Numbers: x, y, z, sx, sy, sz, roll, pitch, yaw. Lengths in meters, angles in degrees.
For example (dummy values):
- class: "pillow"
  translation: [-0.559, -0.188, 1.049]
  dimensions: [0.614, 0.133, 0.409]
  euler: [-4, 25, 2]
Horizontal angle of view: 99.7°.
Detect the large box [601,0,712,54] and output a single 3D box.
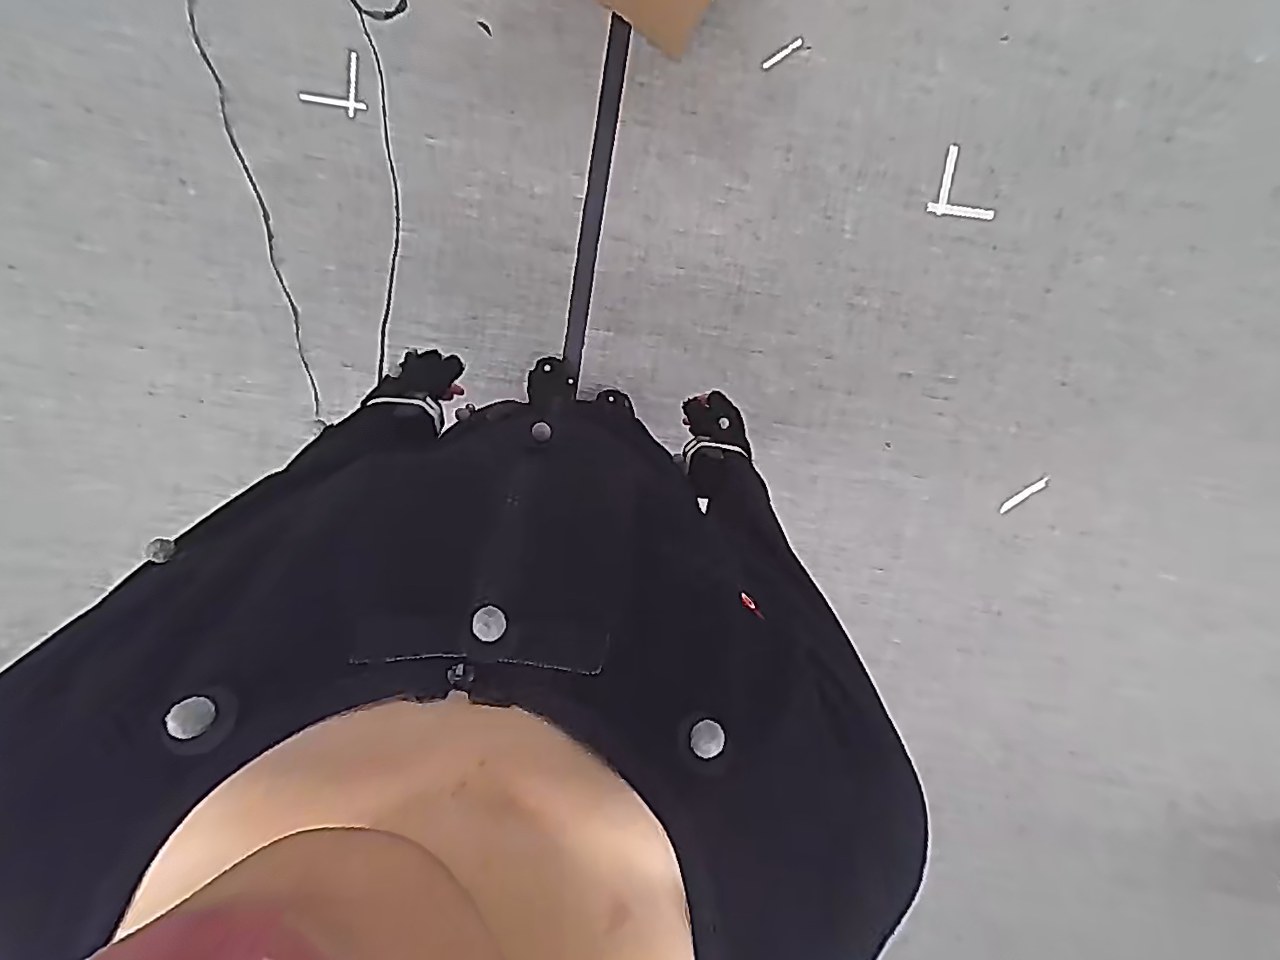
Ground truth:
- class: "large box"
  translation: [0.009, -1.204, 1.098]
  dimensions: [0.408, 0.320, 0.320]
  euler: [32, 99, -7]
